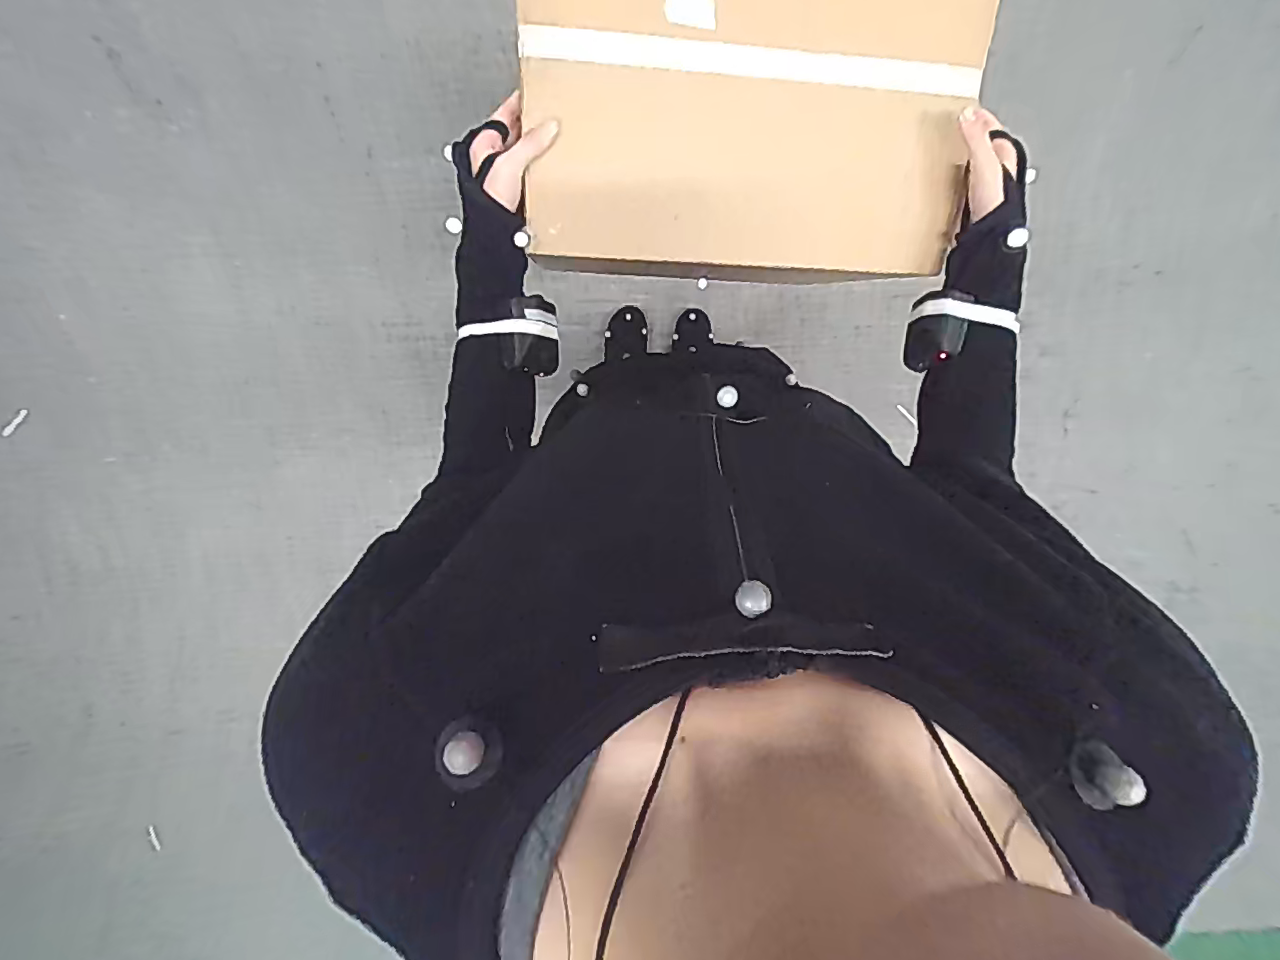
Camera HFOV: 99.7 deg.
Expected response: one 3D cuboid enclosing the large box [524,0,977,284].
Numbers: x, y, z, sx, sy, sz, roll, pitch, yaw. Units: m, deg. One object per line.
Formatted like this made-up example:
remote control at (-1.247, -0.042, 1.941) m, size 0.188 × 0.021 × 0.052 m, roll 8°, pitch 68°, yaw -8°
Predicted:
large box at (0.085, -0.396, 0.623) m, size 0.408 × 0.320 × 0.320 m, roll 0°, pitch 107°, yaw -7°
